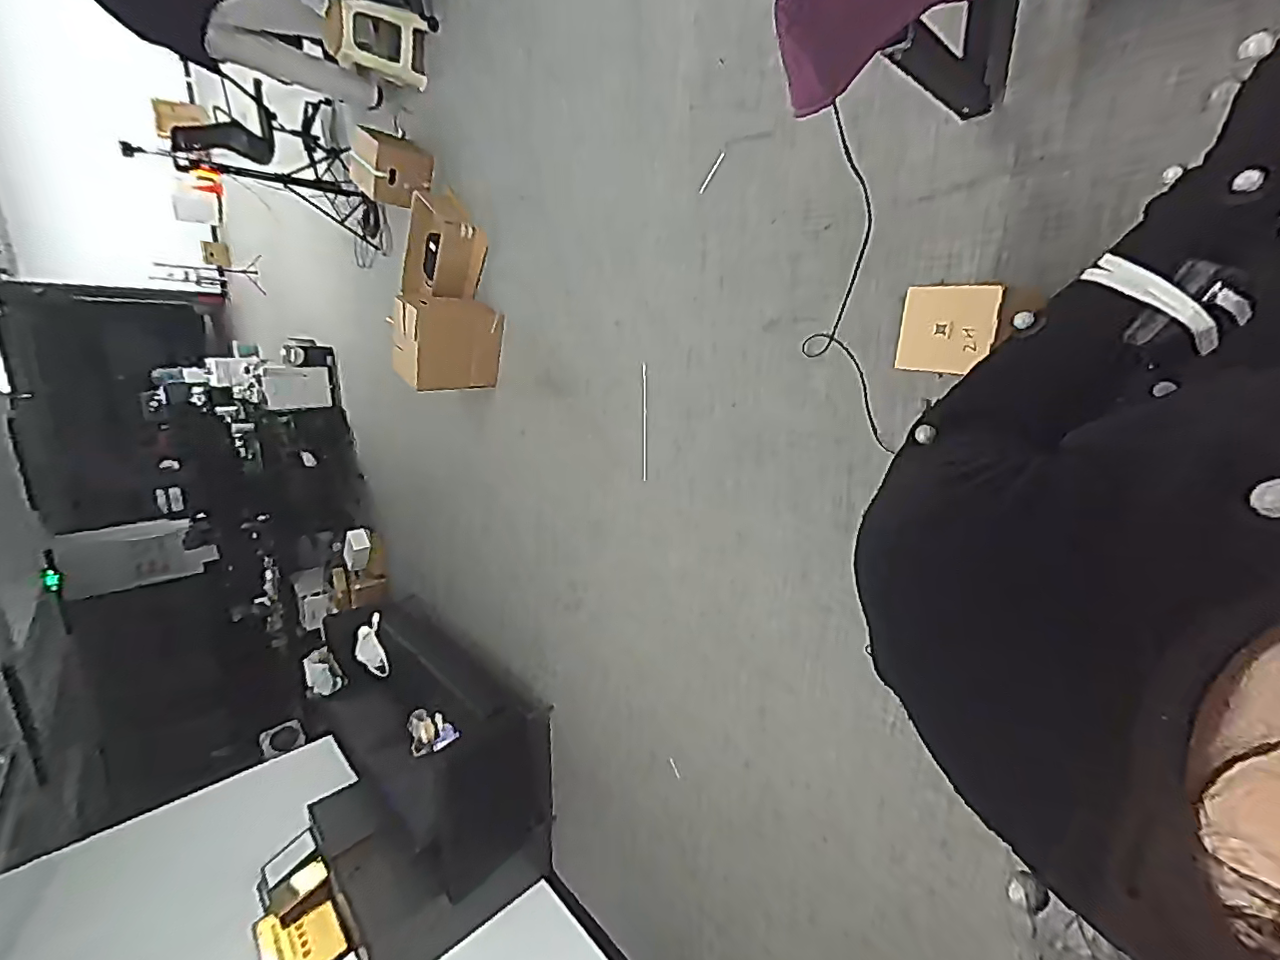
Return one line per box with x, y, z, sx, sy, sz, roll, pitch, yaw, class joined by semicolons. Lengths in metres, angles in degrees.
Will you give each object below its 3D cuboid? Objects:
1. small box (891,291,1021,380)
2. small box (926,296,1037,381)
0.657;-0.301;1.126;0.179;0.176;0.168;18;112;43;small box
0.779;-0.323;1.235;0.168;0.176;0.179;17;110;44;small box
